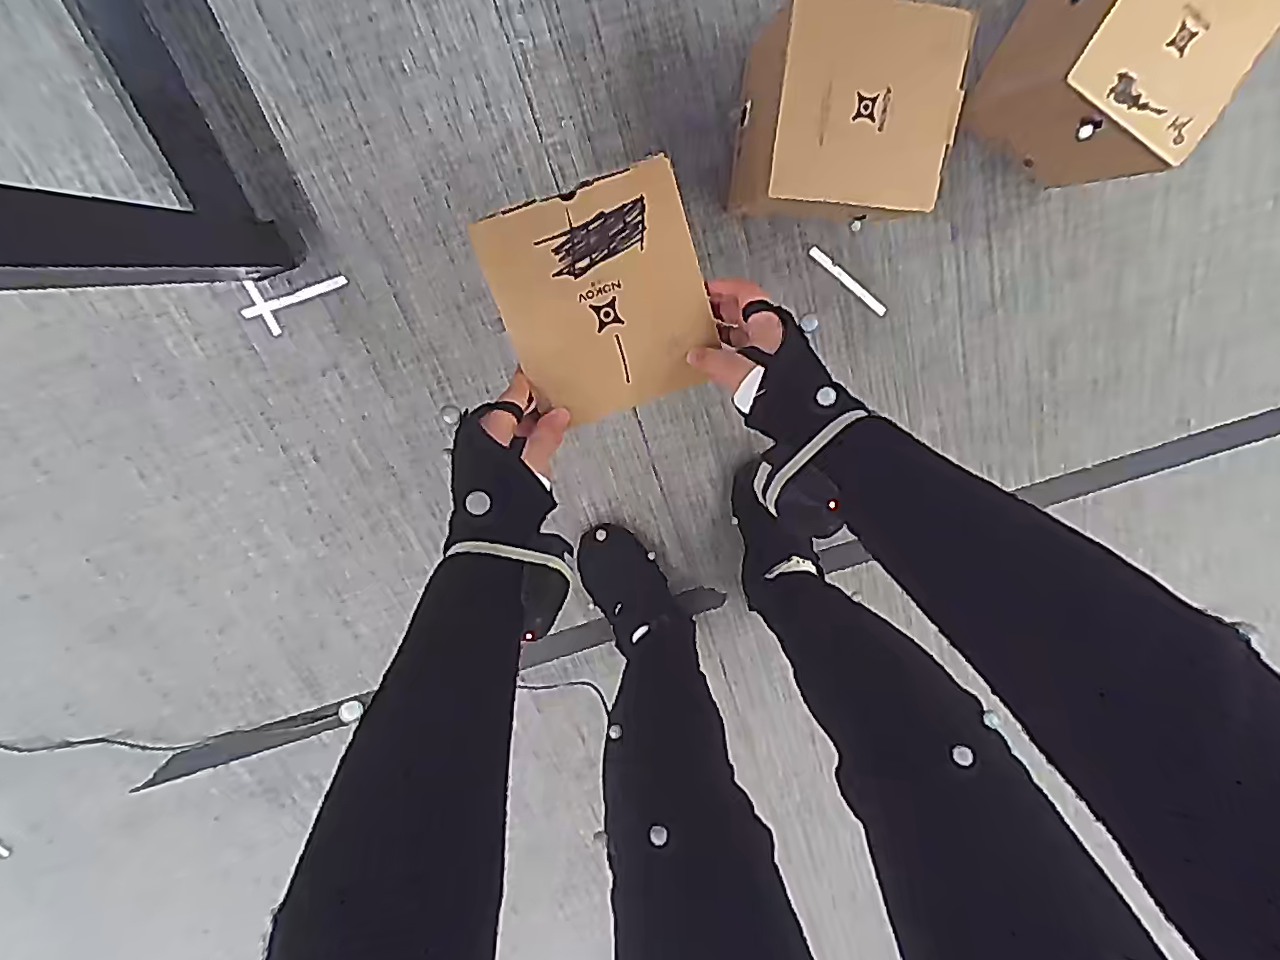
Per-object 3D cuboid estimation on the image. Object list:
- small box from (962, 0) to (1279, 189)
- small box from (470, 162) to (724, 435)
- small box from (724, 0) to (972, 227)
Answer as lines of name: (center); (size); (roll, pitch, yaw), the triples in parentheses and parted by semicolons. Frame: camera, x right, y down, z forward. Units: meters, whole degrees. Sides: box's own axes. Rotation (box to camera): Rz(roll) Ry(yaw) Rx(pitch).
small box: (0.496, -0.445, 0.579); (0.168, 0.176, 0.179); (23, 107, -14)
small box: (-0.039, -0.162, 0.513); (0.168, 0.176, 0.179); (-20, 108, 0)
small box: (0.202, -0.372, 0.580); (0.179, 0.176, 0.168); (1, 110, -5)
